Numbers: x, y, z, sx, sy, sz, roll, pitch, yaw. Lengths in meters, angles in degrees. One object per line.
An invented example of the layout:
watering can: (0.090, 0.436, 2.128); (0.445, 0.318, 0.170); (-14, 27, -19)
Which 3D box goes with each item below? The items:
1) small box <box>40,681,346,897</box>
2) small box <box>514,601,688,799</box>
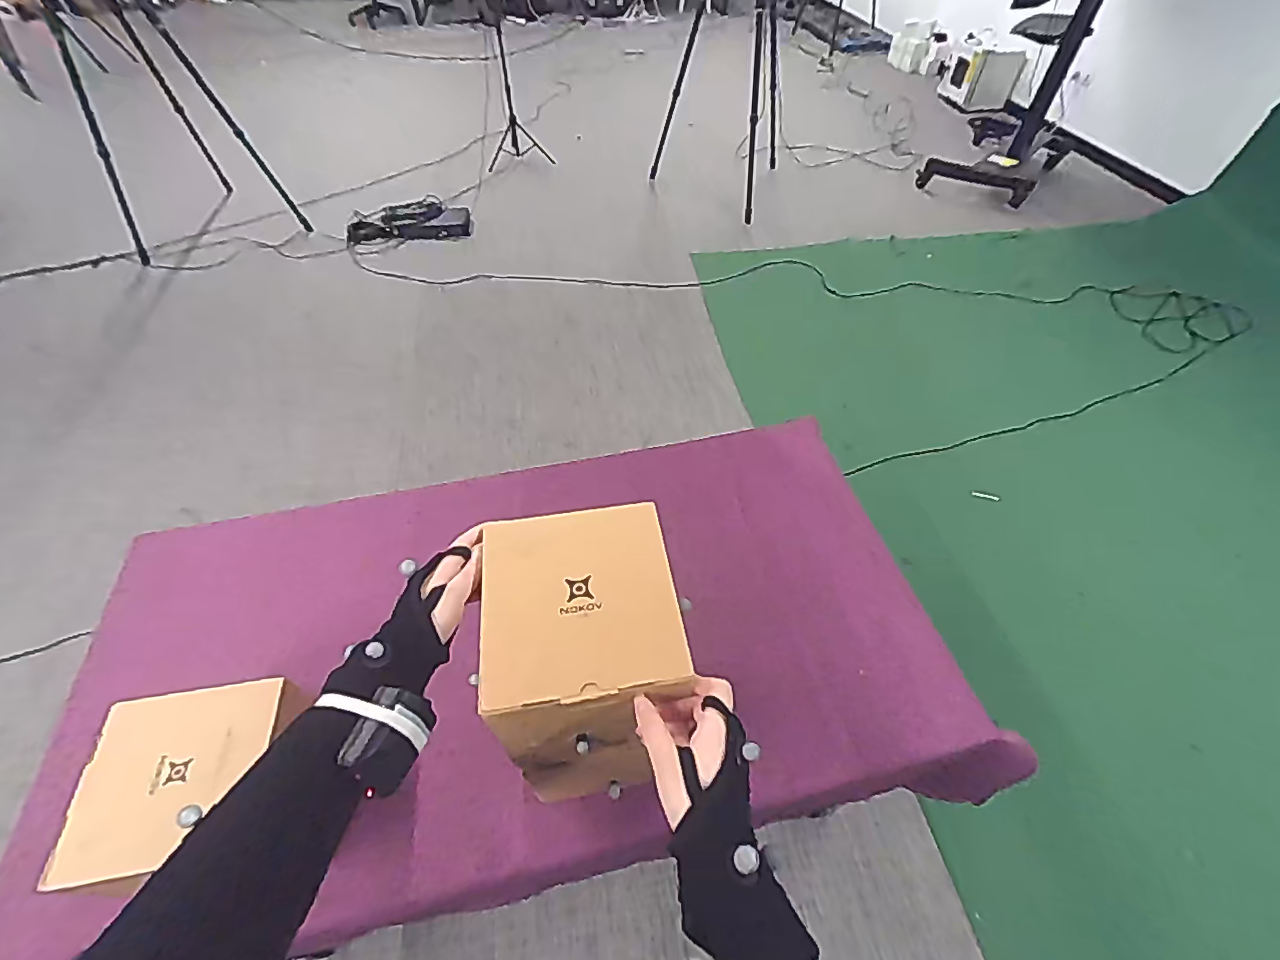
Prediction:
small box: (-0.461, 0.344, 0.598); (0.179, 0.176, 0.168); (-7, 52, -7)
small box: (-0.051, 0.270, 0.661); (0.179, 0.176, 0.168); (-8, 51, -8)
